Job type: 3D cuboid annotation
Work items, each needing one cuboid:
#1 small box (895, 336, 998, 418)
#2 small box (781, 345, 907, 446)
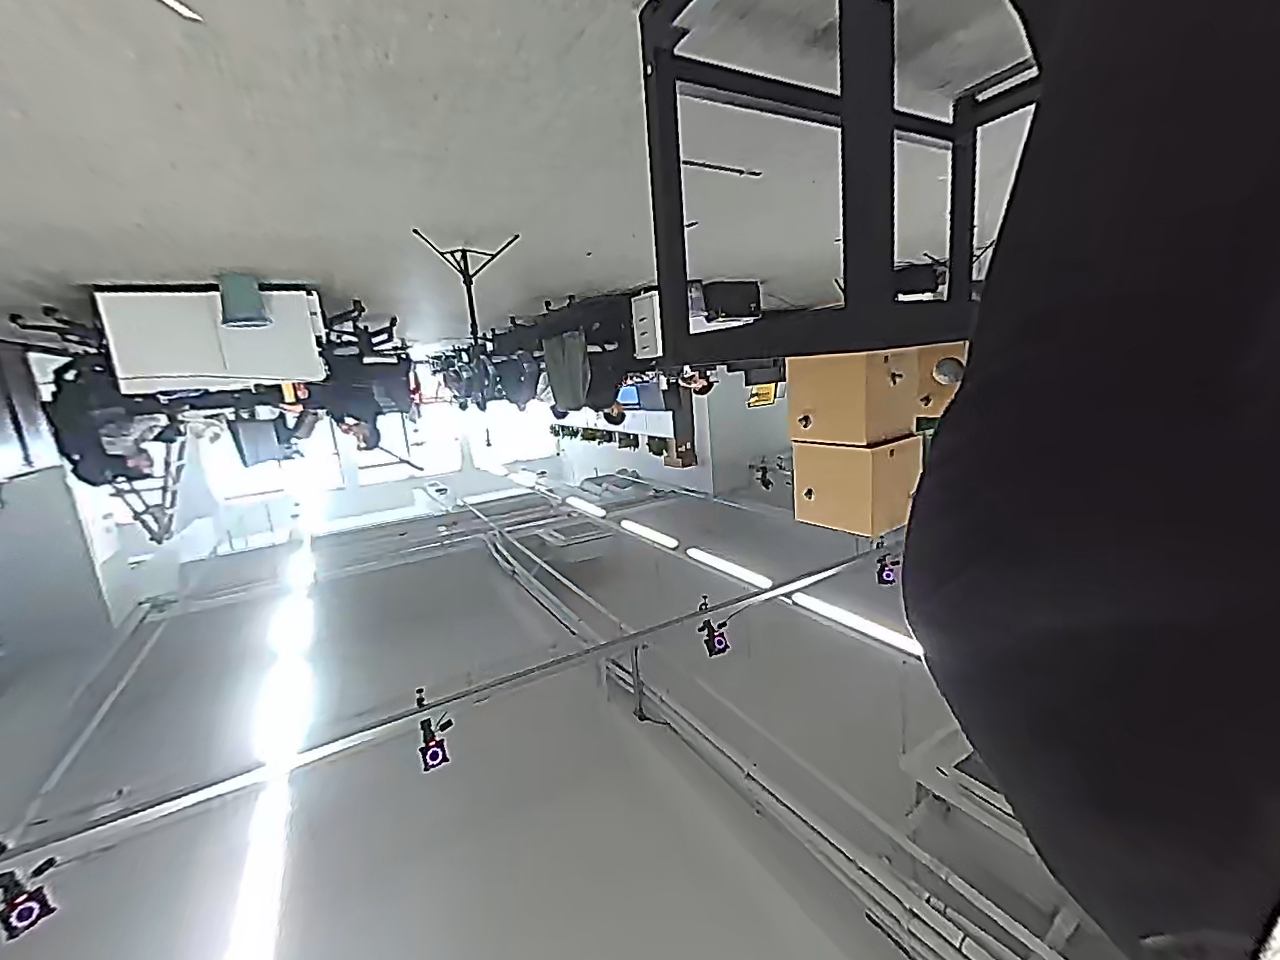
[{"bbox_3d":[0.688,-0.237,1.242,0.168,0.176,0.179,-11,-167,-28],"label":"small box"},{"bbox_3d":[0.389,-0.166,1.033,0.168,0.176,0.179,-14,-165,-33],"label":"small box"}]
